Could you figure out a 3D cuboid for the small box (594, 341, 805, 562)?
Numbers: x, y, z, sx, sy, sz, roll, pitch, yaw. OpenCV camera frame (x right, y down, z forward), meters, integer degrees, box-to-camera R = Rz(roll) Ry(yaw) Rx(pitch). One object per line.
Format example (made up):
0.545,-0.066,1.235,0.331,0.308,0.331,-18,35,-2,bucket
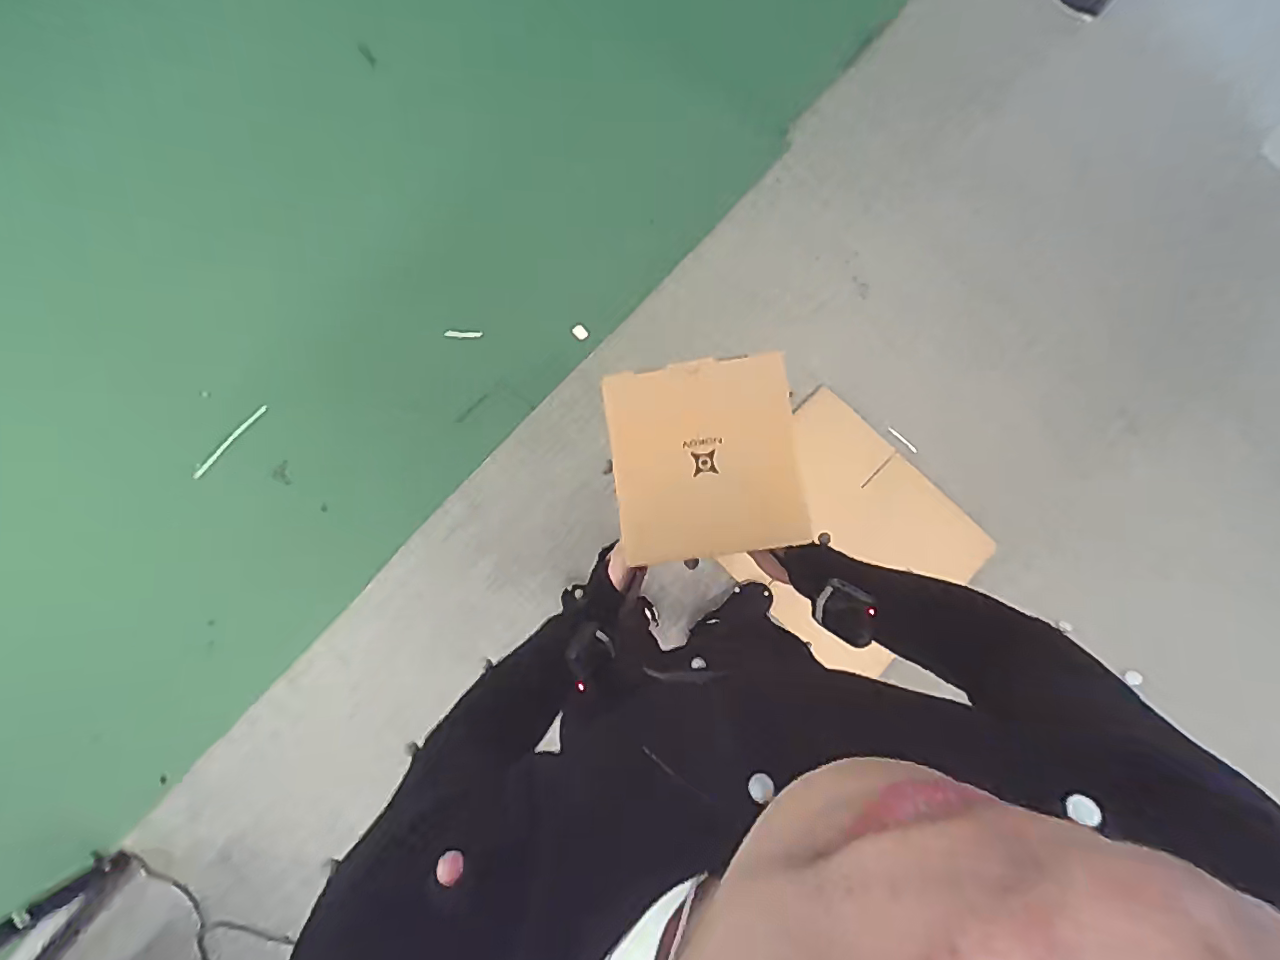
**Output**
0.056,-0.020,0.545,0.168,0.176,0.179,-8,85,3,small box
